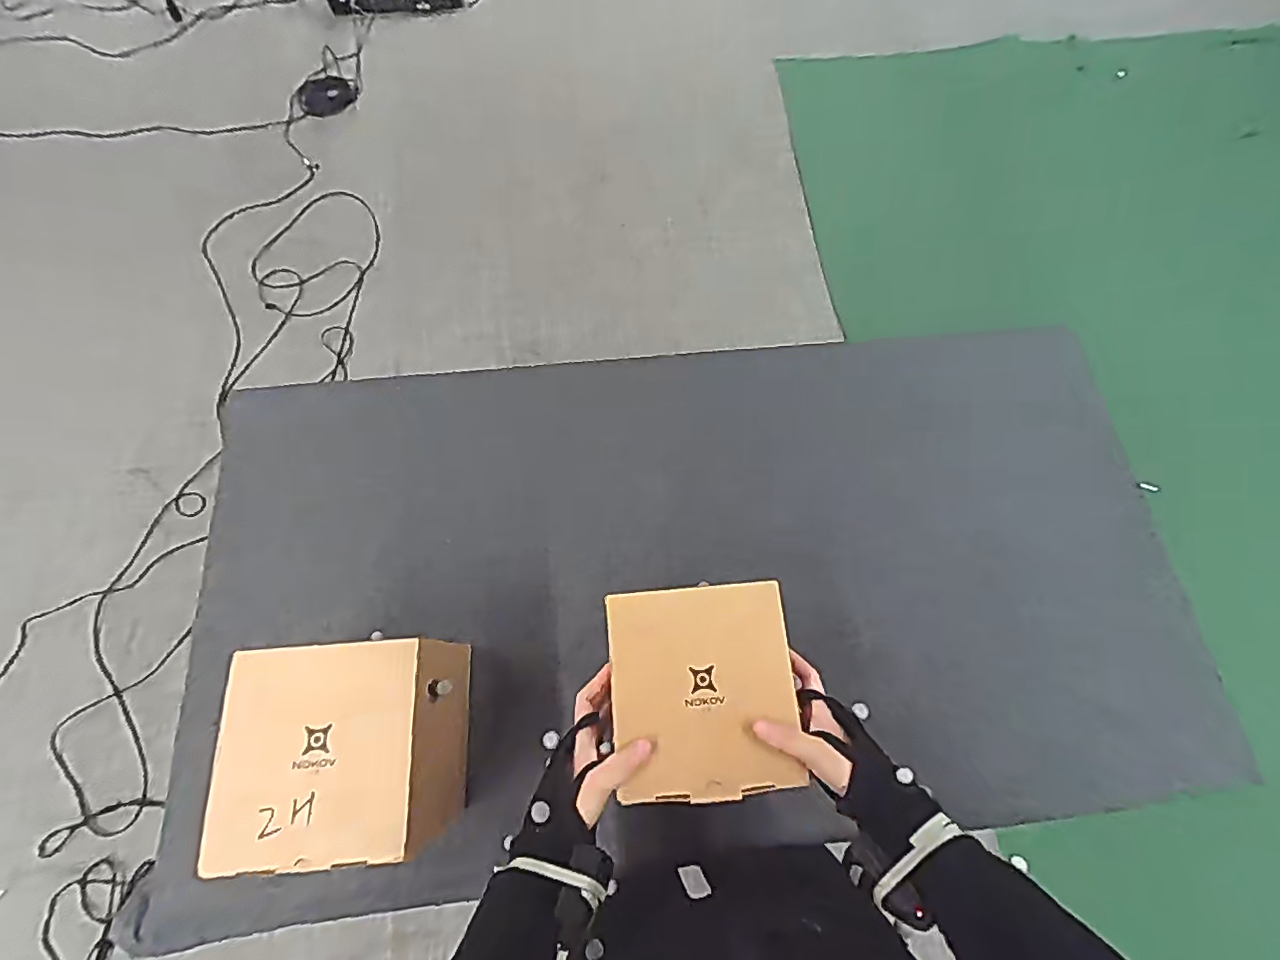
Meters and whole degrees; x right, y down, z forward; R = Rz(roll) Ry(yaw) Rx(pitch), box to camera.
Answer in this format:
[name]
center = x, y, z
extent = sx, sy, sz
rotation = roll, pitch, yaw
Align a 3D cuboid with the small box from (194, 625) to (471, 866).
[small box]
center = -0.269, 0.242, 0.523
extent = 0.168, 0.176, 0.179
rotation = -3, 70, -2
